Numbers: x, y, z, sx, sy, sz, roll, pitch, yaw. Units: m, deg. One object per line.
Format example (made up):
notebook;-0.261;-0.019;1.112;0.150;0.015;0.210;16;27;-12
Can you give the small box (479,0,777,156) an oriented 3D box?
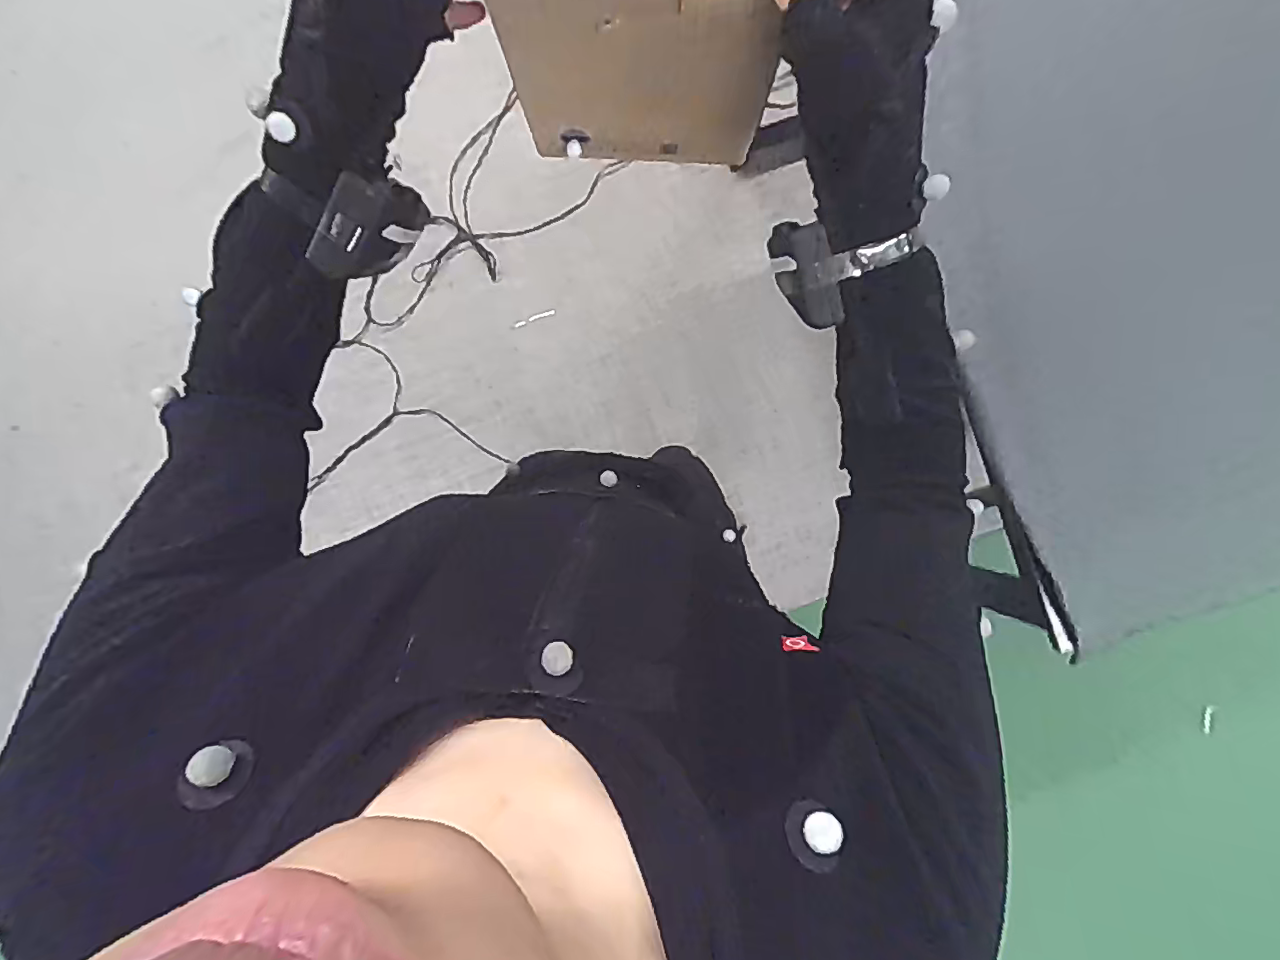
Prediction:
small box;-0.001;-0.340;0.350;0.168;0.176;0.179;2;92;0
